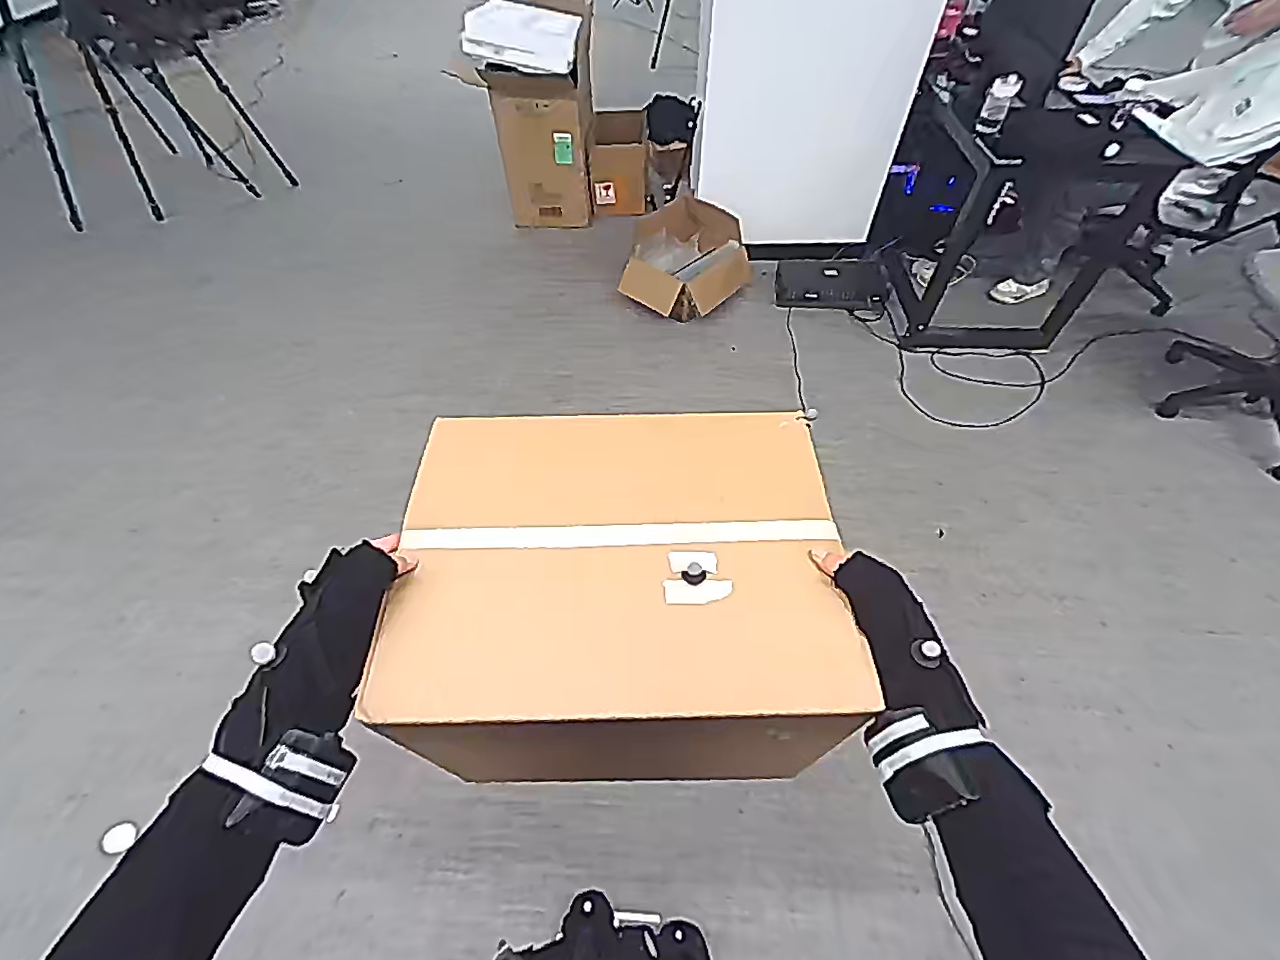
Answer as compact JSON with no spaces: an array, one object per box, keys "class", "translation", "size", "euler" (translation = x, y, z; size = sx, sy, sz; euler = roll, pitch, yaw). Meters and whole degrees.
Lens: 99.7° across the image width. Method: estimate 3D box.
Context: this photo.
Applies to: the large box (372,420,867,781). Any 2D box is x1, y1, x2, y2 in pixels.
[{"class":"large box","translation":[-0.019,0.149,0.633],"size":[0.408,0.320,0.320],"euler":[-1,53,0]}]
